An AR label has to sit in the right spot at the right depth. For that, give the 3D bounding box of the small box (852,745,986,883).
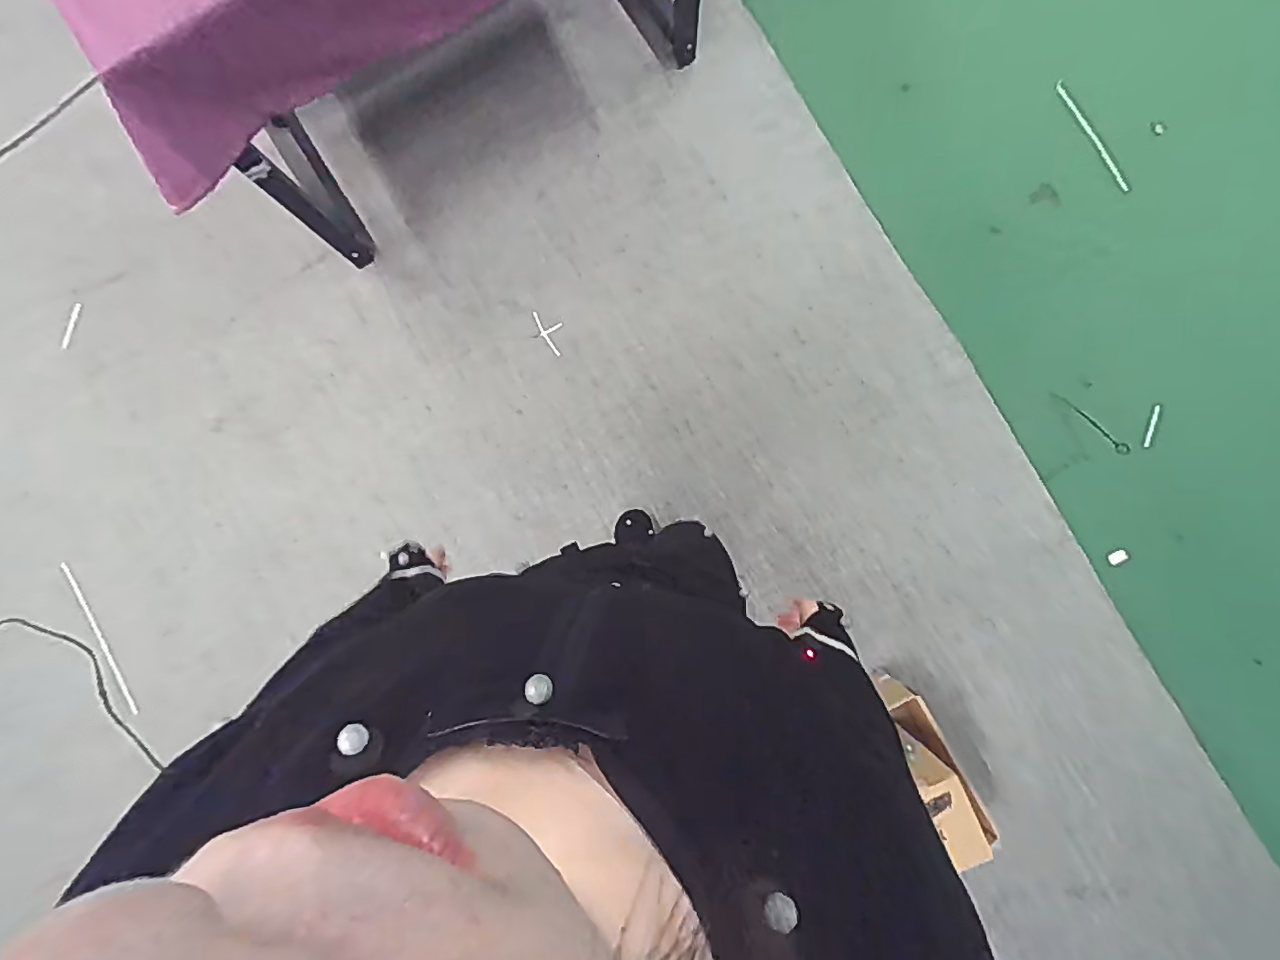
[{"bbox_3d":[0.588,0.702,1.165,0.168,0.176,0.179,-23,87,1],"label":"small box"}]
